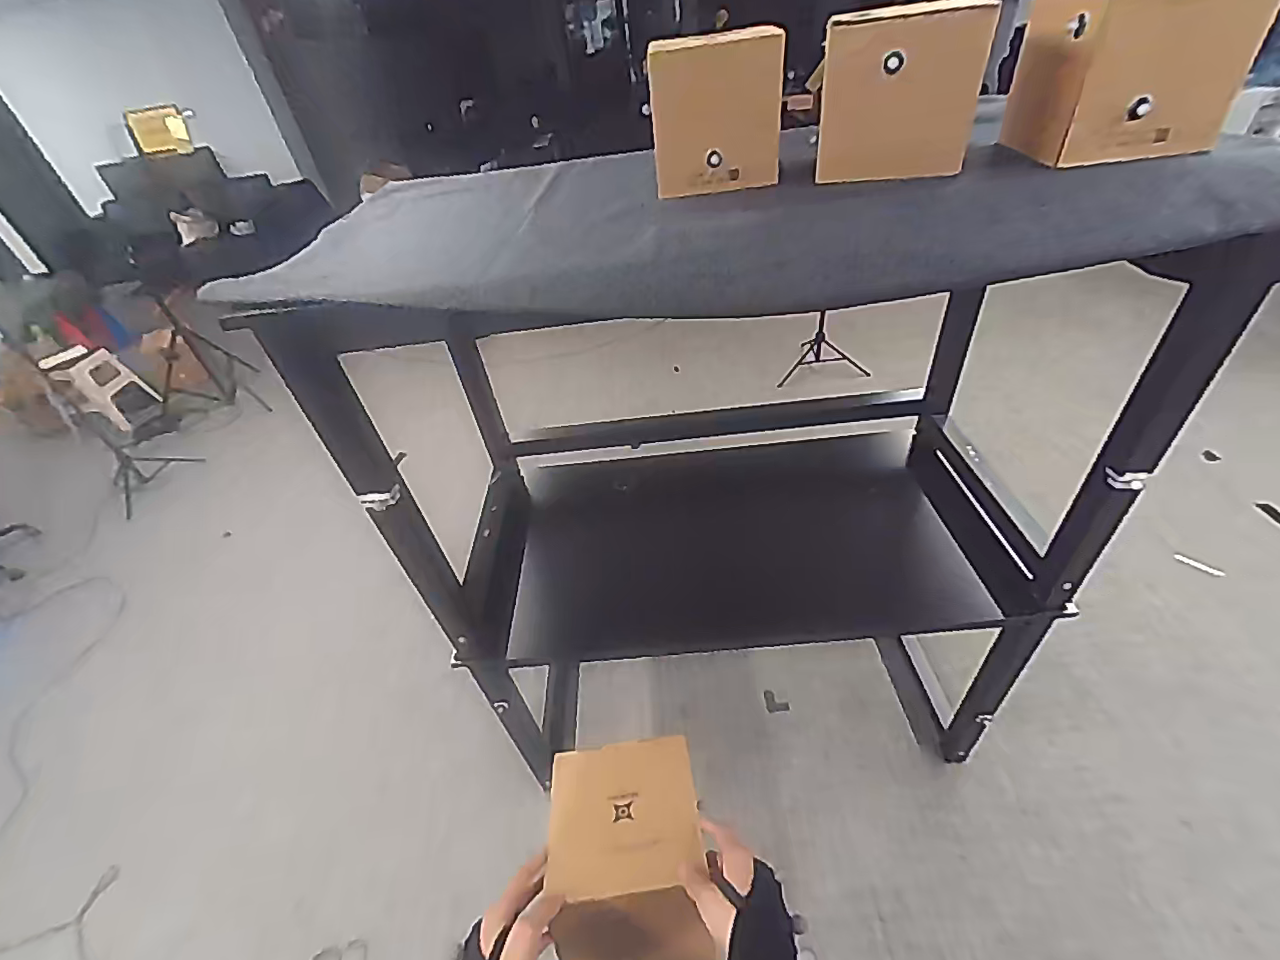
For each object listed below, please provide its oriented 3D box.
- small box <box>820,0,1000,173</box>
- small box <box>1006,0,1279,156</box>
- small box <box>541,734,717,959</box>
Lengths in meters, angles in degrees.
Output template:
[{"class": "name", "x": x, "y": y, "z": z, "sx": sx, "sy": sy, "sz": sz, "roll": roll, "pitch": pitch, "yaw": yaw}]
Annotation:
[{"class": "small box", "x": 0.329, "y": -0.507, "z": 0.694, "sx": 0.179, "sy": 0.176, "sz": 0.168, "roll": 5, "pitch": 43, "yaw": 15}, {"class": "small box", "x": 0.574, "y": -0.498, "z": 0.639, "sx": 0.168, "sy": 0.176, "sz": 0.179, "roll": -3, "pitch": 41, "yaw": 8}, {"class": "small box", "x": -0.010, "y": 0.428, "z": 0.616, "sx": 0.168, "sy": 0.176, "sz": 0.179, "roll": -7, "pitch": 23, "yaw": -1}]
